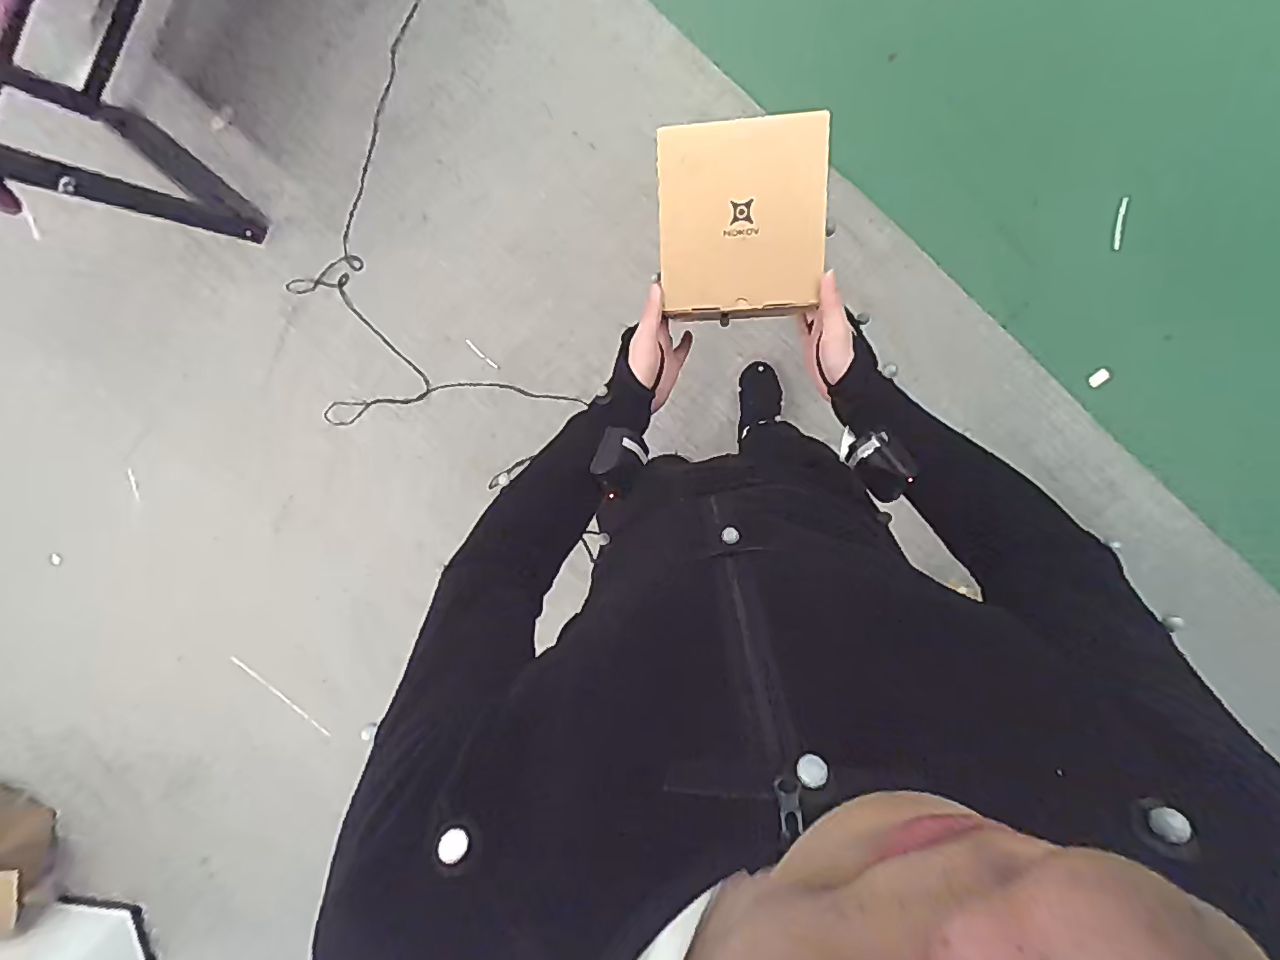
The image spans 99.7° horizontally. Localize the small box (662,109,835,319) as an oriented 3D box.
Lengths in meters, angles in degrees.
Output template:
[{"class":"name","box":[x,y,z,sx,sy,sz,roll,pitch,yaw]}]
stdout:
[{"class":"small box","box":[0.110,-0.278,0.605,0.168,0.176,0.179,-2,105,6]}]
